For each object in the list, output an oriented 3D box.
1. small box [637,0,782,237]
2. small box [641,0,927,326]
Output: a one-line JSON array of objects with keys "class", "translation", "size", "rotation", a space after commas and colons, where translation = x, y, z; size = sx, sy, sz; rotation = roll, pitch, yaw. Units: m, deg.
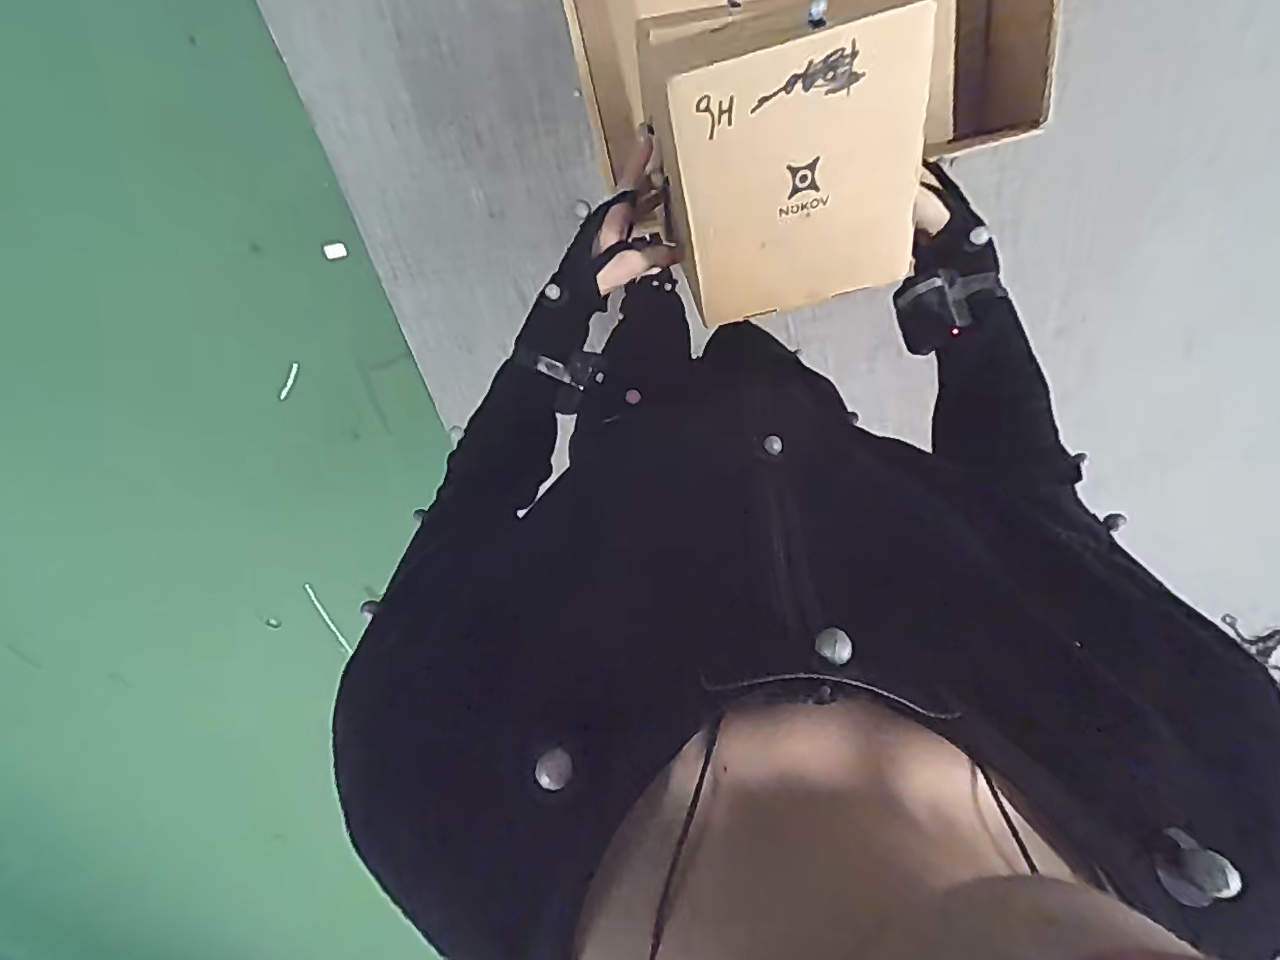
[{"class": "small box", "translation": [0.090, -0.378, 0.556], "size": [0.168, 0.176, 0.179], "rotation": [-8, 134, 3]}, {"class": "small box", "translation": [0.102, -0.259, 0.439], "size": [0.168, 0.176, 0.179], "rotation": [-13, 134, 6]}]
